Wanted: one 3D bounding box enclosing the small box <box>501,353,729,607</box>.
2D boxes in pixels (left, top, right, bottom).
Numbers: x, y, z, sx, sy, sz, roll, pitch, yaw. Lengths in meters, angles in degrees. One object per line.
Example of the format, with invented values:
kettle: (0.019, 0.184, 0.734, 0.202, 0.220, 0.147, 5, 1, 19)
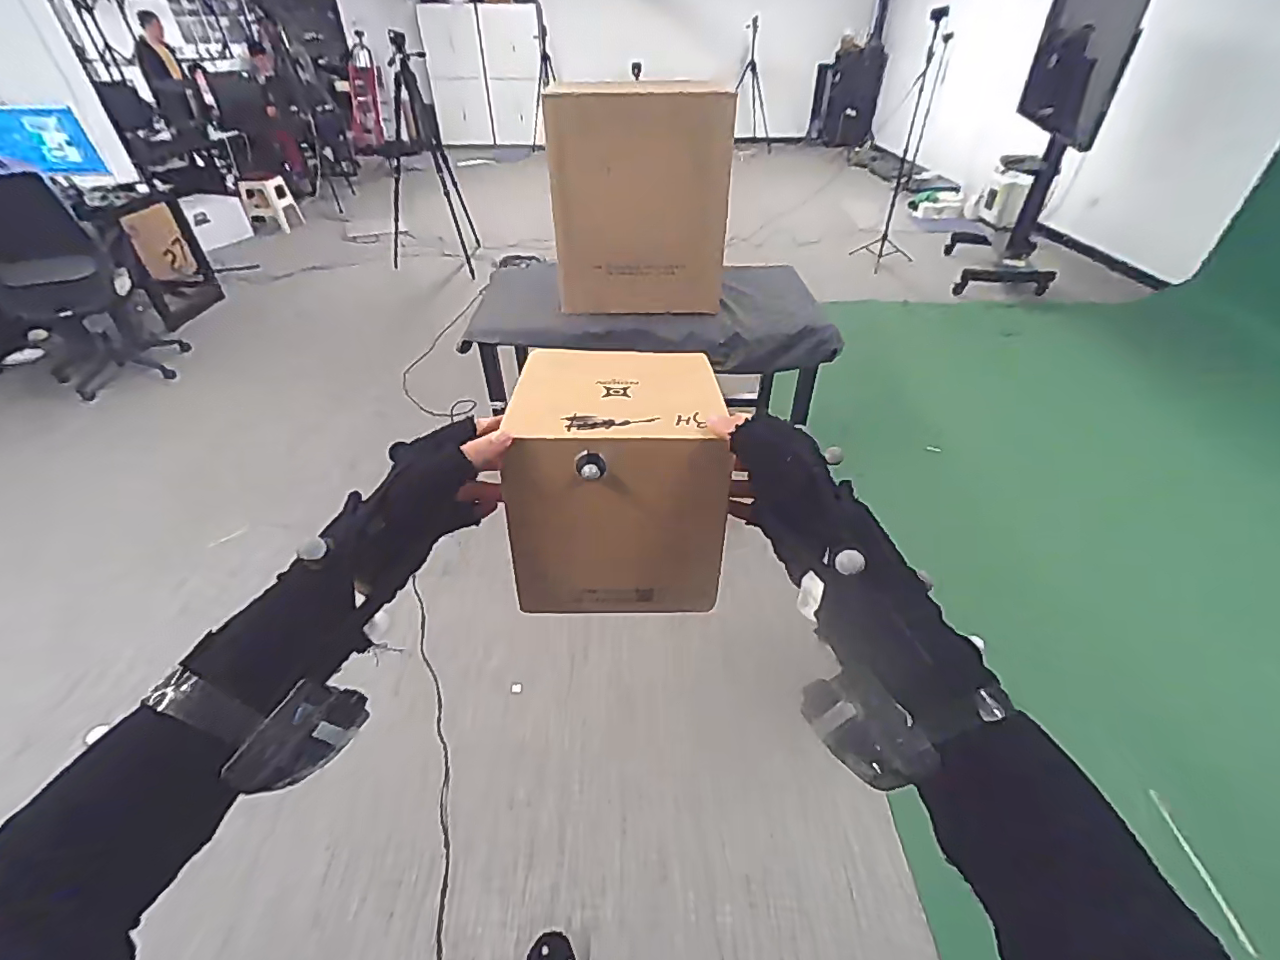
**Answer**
small box: (-0.020, -0.007, 0.493, 0.168, 0.176, 0.179, 0, 31, -1)
